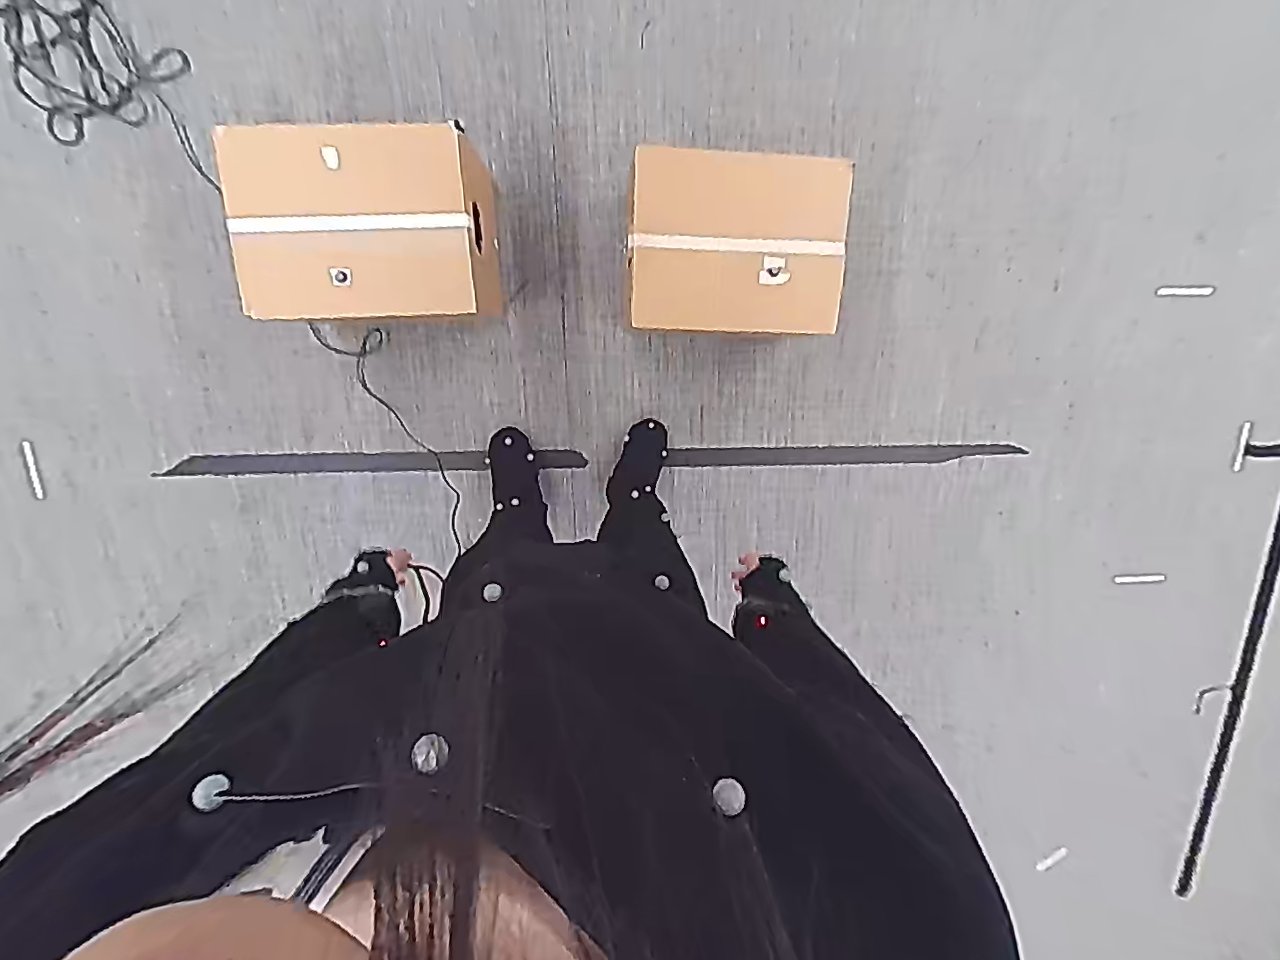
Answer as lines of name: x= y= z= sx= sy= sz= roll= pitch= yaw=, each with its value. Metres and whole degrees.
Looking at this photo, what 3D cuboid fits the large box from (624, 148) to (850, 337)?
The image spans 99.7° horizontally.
large box: x=0.175 y=-0.476 z=1.161 sx=0.408 sy=0.320 sz=0.320 roll=1 pitch=103 yaw=-6
